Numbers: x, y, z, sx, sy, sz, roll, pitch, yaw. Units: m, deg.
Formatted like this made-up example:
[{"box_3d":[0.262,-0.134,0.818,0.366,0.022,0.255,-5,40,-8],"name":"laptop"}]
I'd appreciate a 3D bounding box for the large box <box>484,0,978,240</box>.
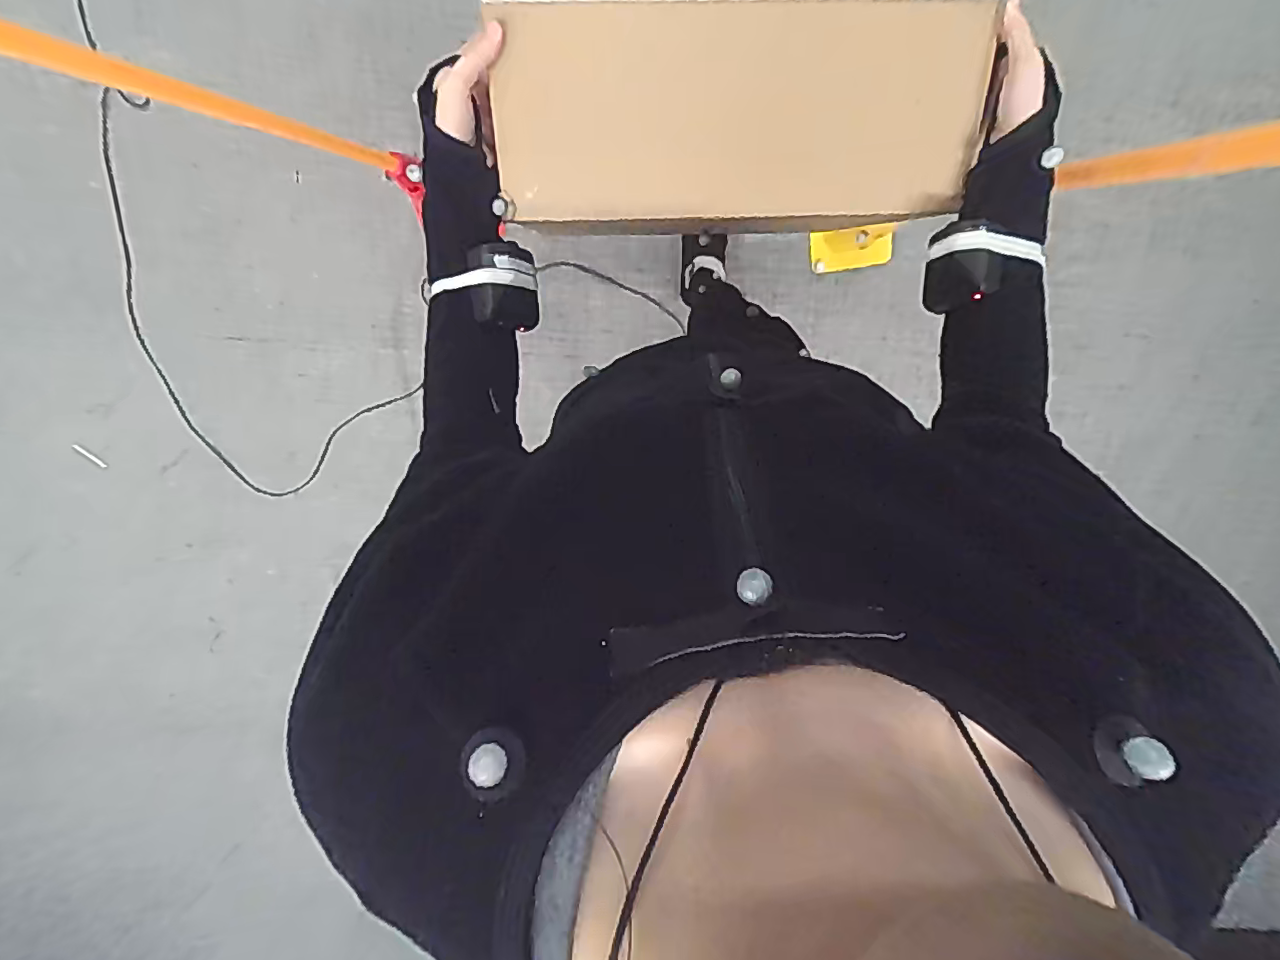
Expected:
[{"box_3d":[0.071,-0.432,0.566,0.408,0.320,0.320,-3,111,-2],"name":"large box"}]
